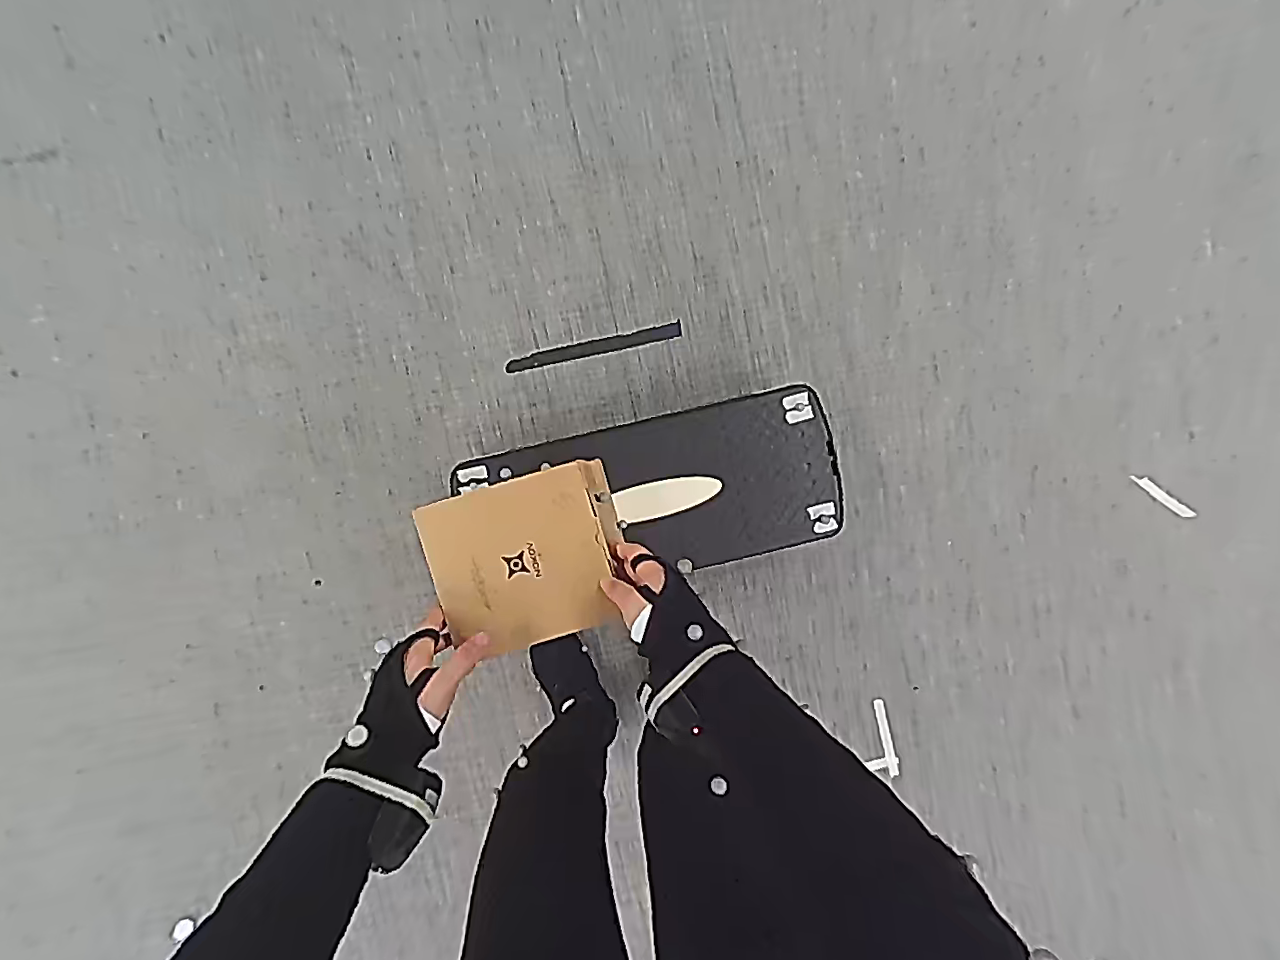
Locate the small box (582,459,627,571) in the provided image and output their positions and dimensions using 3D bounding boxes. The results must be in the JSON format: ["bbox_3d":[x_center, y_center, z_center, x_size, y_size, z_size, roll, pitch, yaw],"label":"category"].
[{"bbox_3d":[-0.122,0.068,0.839,0.179,0.176,0.168,-16,94,-1],"label":"small box"}]

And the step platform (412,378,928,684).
[{"bbox_3d":[0.042,0.066,0.810,0.684,0.204,0.286,-14,93,-3],"label":"step platform"}]

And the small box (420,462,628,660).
[{"bbox_3d":[-0.120,0.080,0.629,0.179,0.176,0.168,-17,91,0],"label":"small box"}]
